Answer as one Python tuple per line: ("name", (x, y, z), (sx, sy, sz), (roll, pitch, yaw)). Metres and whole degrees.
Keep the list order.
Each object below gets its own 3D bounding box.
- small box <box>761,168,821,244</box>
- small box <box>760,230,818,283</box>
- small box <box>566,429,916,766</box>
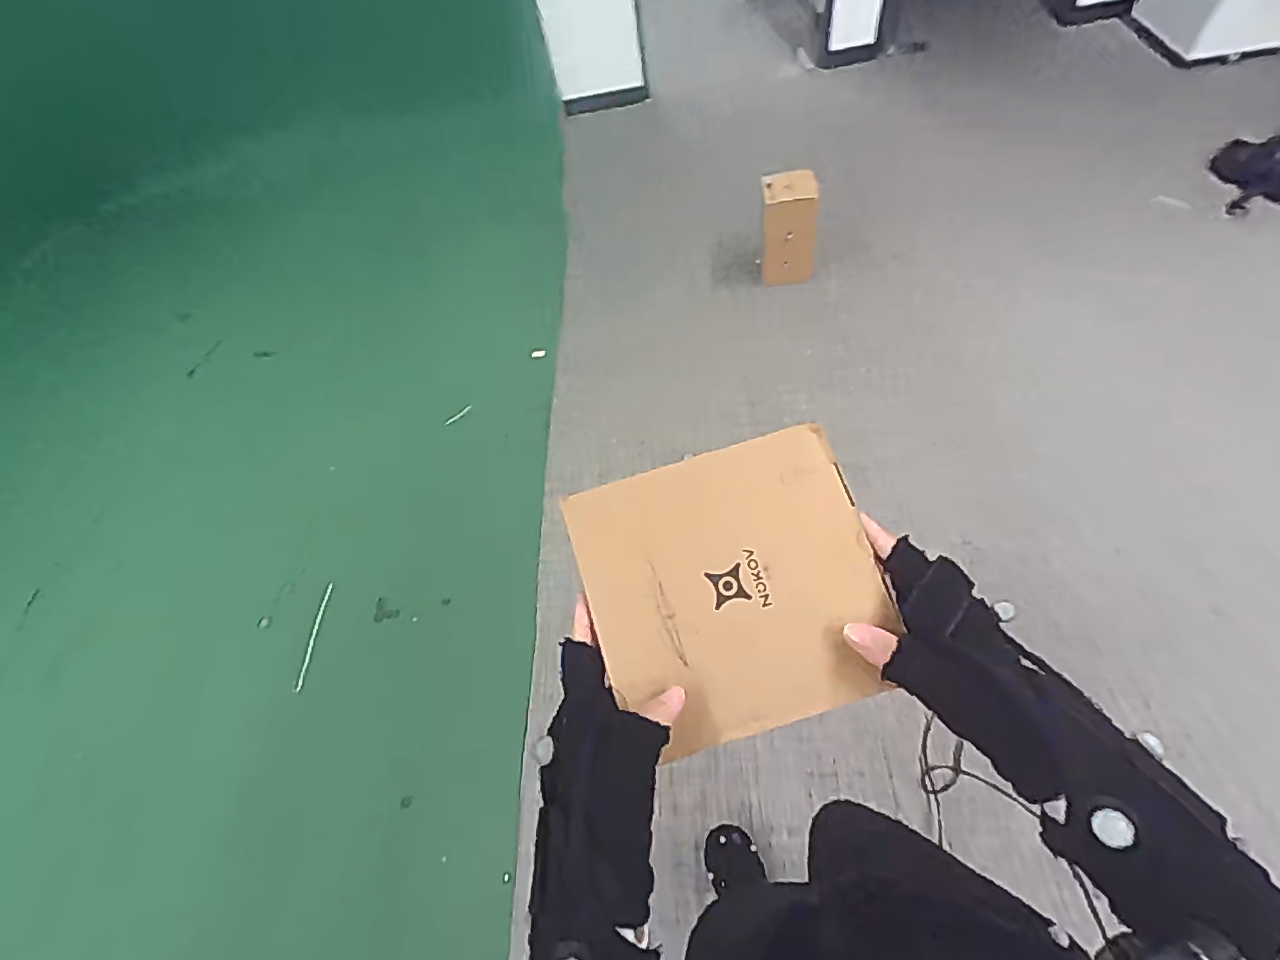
("small box", (0.519, -0.948, 1.878), (0.179, 0.176, 0.168), (-3, 59, 8))
("small box", (0.549, -0.858, 2.012), (0.179, 0.176, 0.168), (-5, 58, 6))
("small box", (0.061, 0.083, 0.407), (0.179, 0.176, 0.168), (-18, 75, 0))
